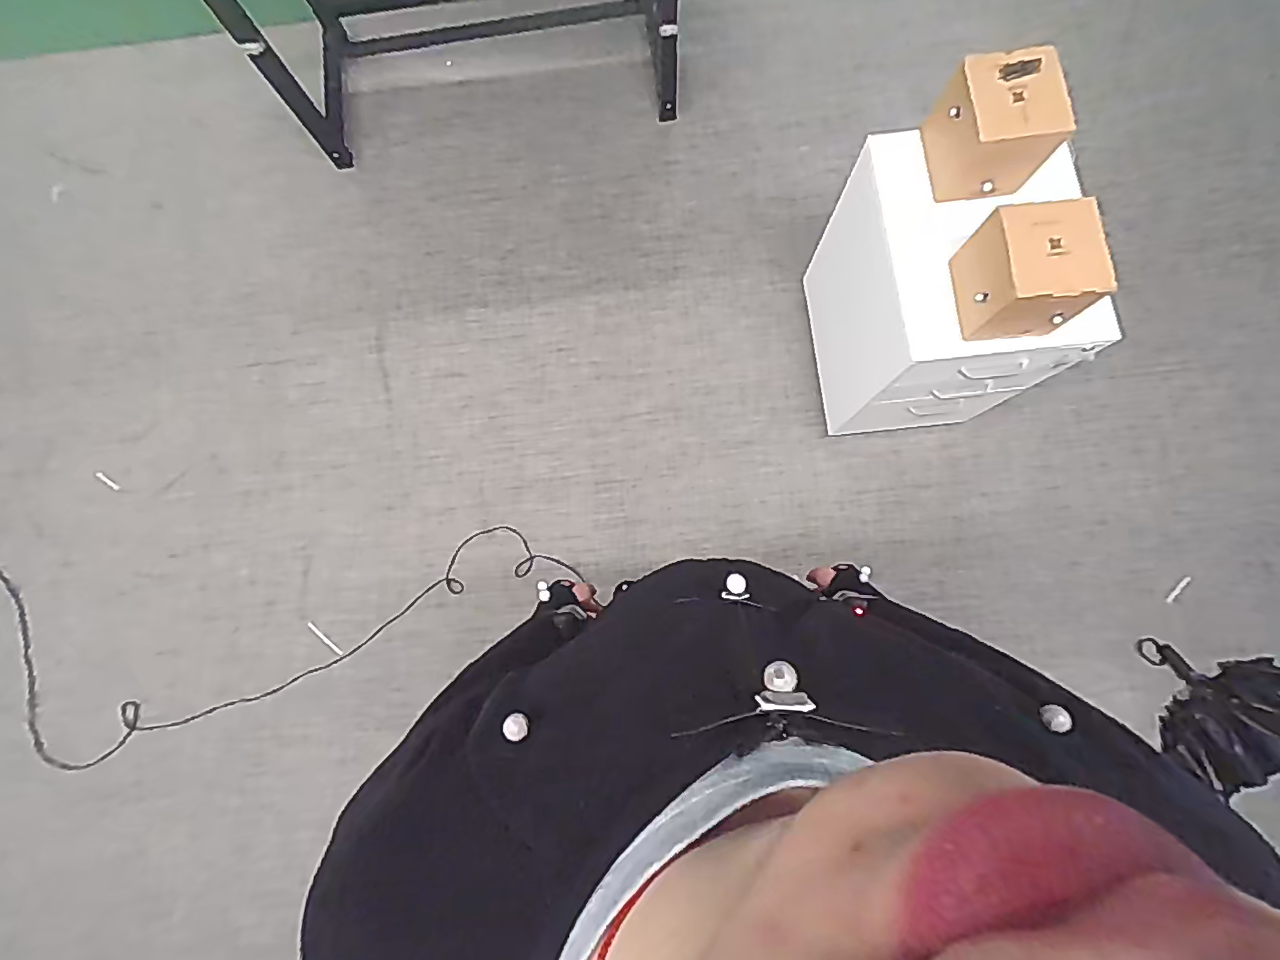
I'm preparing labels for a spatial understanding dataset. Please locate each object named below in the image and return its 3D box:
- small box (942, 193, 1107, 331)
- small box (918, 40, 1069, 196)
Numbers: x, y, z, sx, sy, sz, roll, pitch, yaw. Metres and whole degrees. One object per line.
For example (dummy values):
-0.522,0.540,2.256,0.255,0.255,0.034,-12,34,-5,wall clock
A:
0.683,-0.383,0.983,0.168,0.176,0.179,-4,79,-1,small box
0.657,-0.678,1.028,0.168,0.176,0.179,-6,83,0,small box
